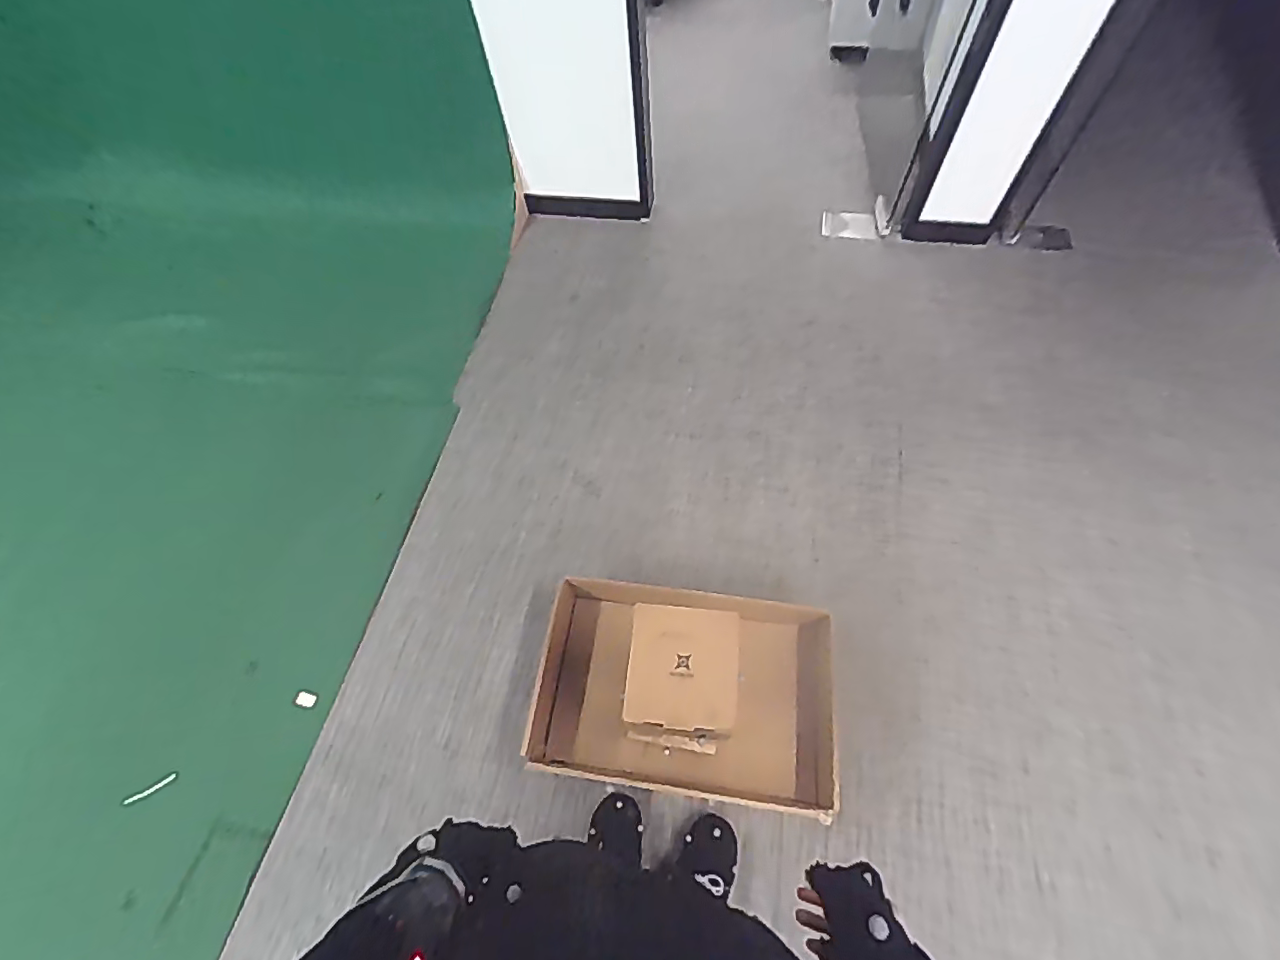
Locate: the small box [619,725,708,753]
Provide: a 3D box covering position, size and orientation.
[{"bbox_3d":[0.062,0.487,1.173,0.179,0.176,0.168,7,61,8],"label":"small box"}]

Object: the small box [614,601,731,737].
[{"bbox_3d":[0.056,0.313,0.880,0.168,0.176,0.179,4,60,4],"label":"small box"}]
